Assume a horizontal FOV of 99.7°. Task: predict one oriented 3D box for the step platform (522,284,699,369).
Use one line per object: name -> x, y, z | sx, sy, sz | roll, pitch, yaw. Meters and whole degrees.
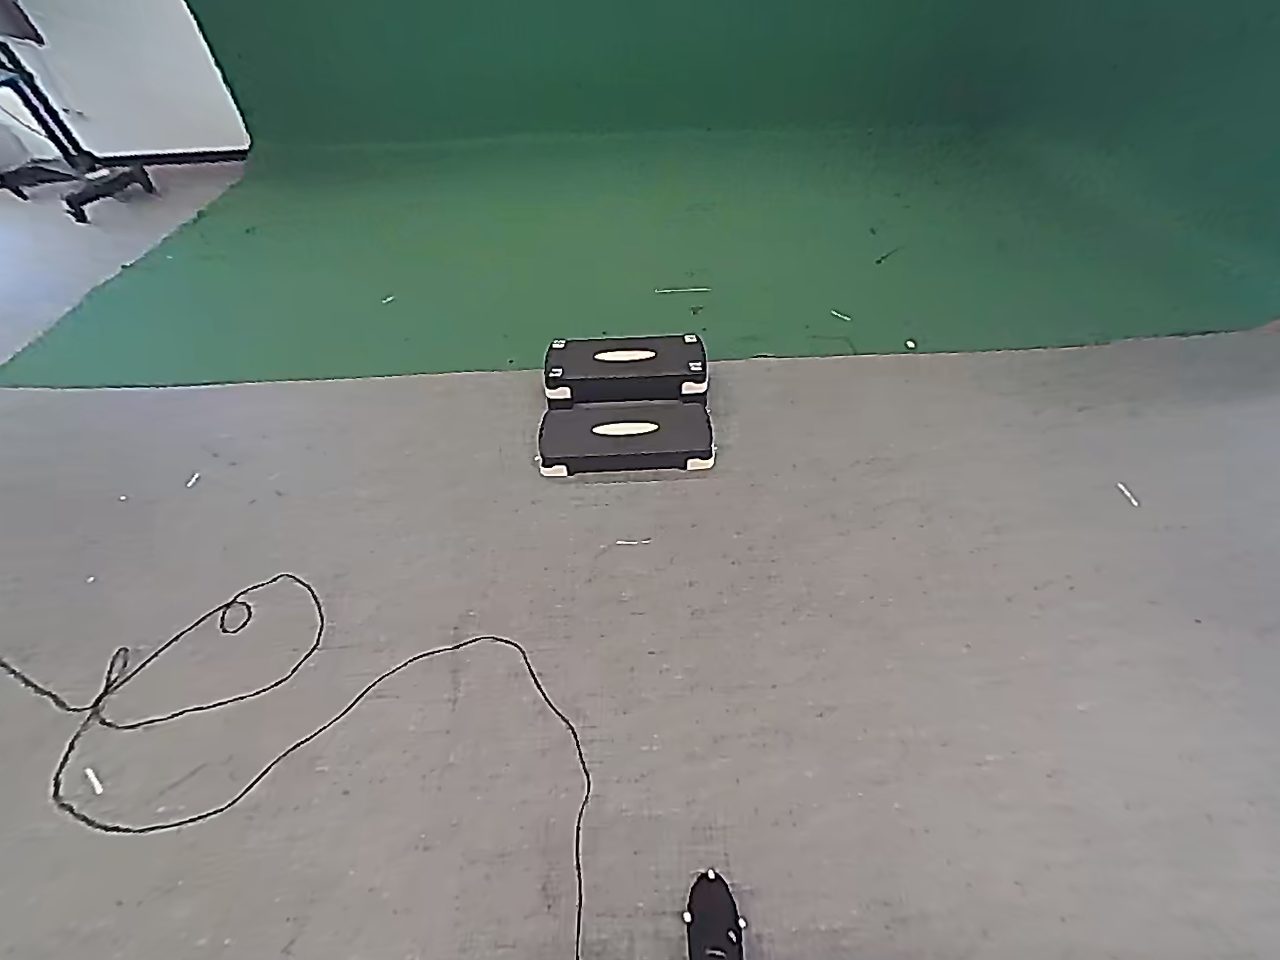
step platform -> -0.111, -0.610, 2.153 | 0.684, 0.204, 0.286 | -3, 49, 0
